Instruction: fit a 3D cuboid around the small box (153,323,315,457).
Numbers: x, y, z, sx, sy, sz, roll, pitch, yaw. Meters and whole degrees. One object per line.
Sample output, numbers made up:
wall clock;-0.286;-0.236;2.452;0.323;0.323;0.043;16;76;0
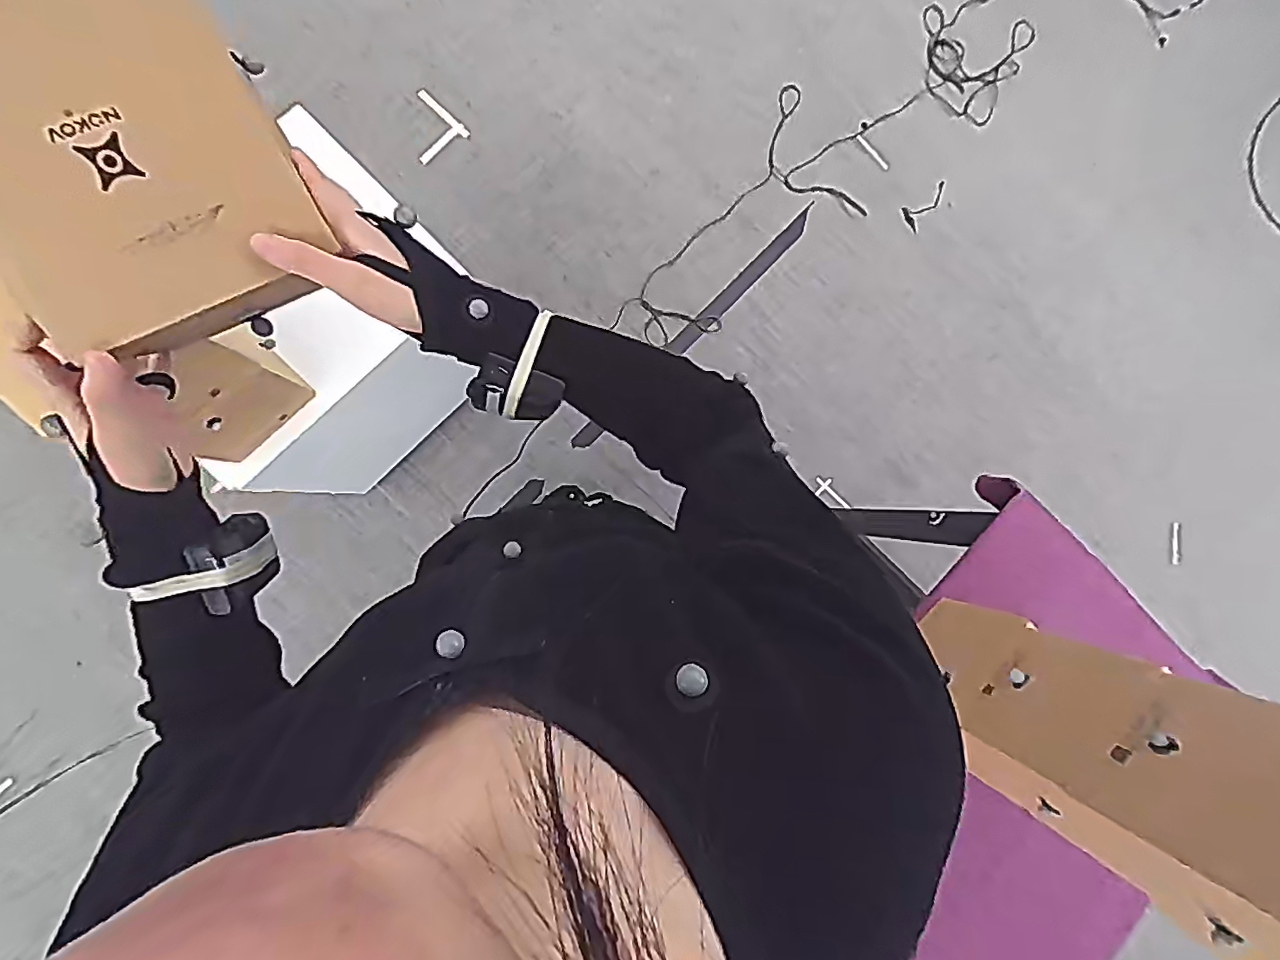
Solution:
small box;-0.620;-0.149;0.773;0.179;0.176;0.168;45;82;-3

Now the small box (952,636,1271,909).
small box;0.508;0.304;0.608;0.168;0.176;0.179;-43;93;-7

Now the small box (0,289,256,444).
small box;-0.595;-0.155;0.611;0.179;0.176;0.168;44;83;-4

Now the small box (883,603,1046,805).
small box;0.482;0.302;0.771;0.179;0.176;0.168;-42;94;-8

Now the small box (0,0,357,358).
small box;-0.319;-0.198;0.361;0.168;0.176;0.179;-30;115;-11
